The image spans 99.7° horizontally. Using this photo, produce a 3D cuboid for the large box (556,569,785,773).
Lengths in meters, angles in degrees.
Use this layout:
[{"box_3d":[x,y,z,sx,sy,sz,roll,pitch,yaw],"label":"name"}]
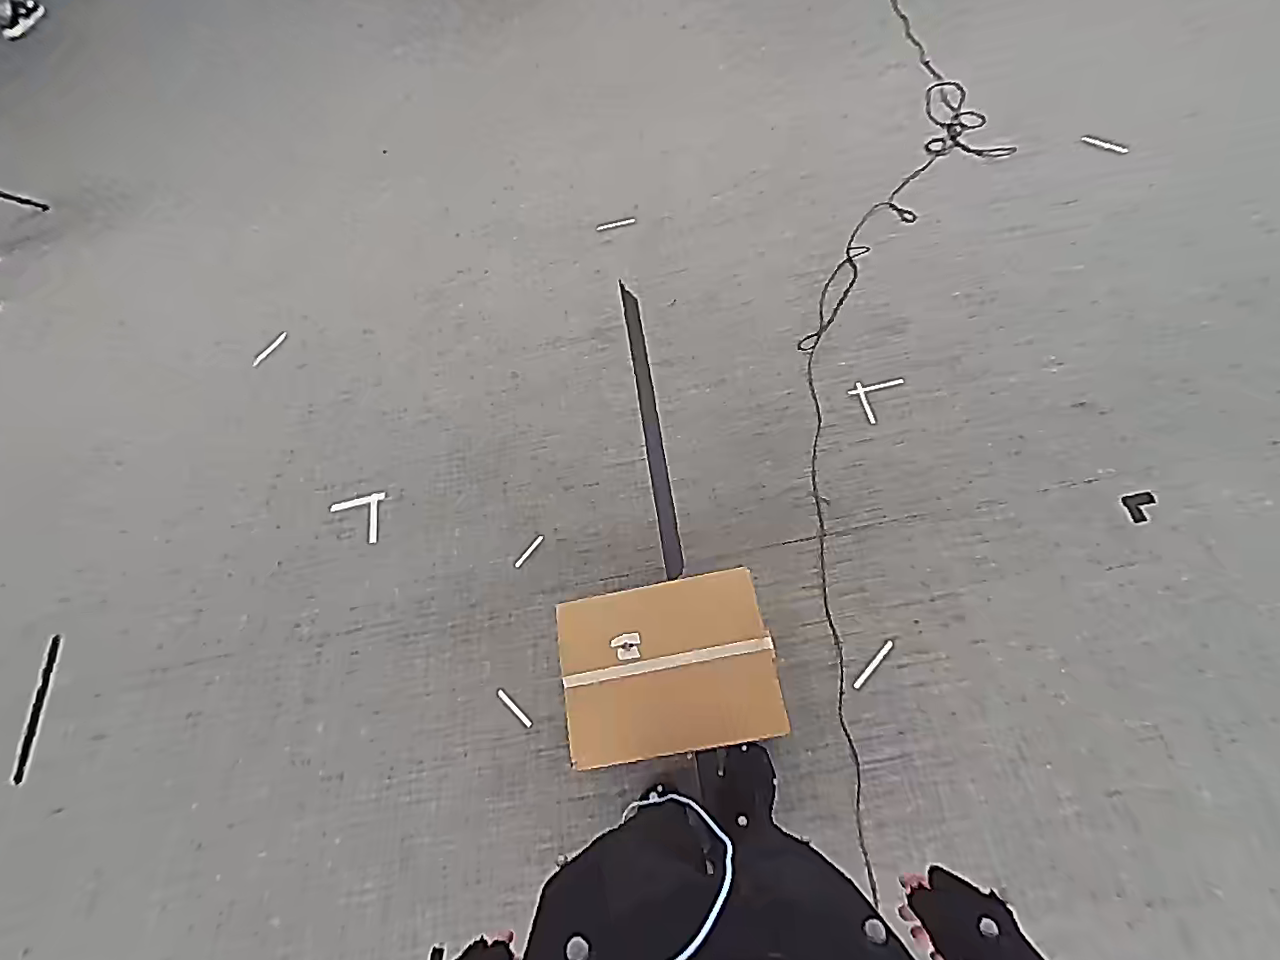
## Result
[{"box_3d":[0.069,0.416,1.167,0.408,0.320,0.320,-12,64,6],"label":"large box"}]
